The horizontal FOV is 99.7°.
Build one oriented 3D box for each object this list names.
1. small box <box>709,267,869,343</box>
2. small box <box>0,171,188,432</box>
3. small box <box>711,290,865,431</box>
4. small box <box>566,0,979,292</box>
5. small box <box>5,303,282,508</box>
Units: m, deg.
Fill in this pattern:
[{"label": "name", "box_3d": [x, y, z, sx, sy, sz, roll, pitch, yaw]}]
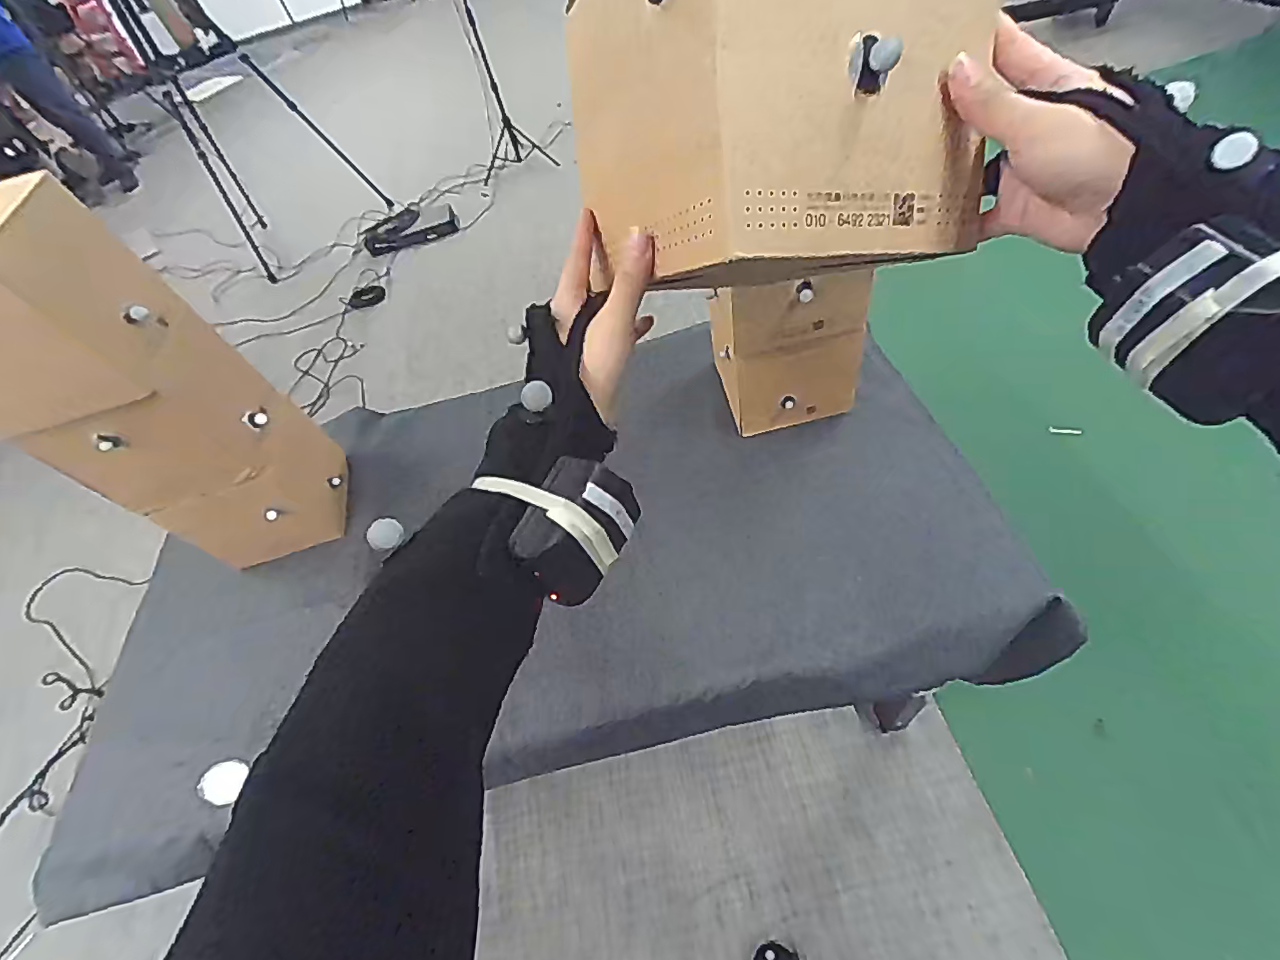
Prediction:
[{"label": "small box", "box_3d": [0.169, -0.287, 0.651, 0.168, 0.176, 0.179, -13, 56, 4]}, {"label": "small box", "box_3d": [-0.630, -0.173, 0.552, 0.179, 0.176, 0.168, -16, 55, 0]}, {"label": "small box", "box_3d": [0.202, -0.201, 0.787, 0.168, 0.176, 0.179, -14, 55, 4]}, {"label": "small box", "box_3d": [0.069, -0.207, 0.314, 0.168, 0.176, 0.179, -11, 18, -24]}, {"label": "small box", "box_3d": [-0.606, -0.088, 0.691, 0.179, 0.176, 0.168, -18, 56, -2]}]
